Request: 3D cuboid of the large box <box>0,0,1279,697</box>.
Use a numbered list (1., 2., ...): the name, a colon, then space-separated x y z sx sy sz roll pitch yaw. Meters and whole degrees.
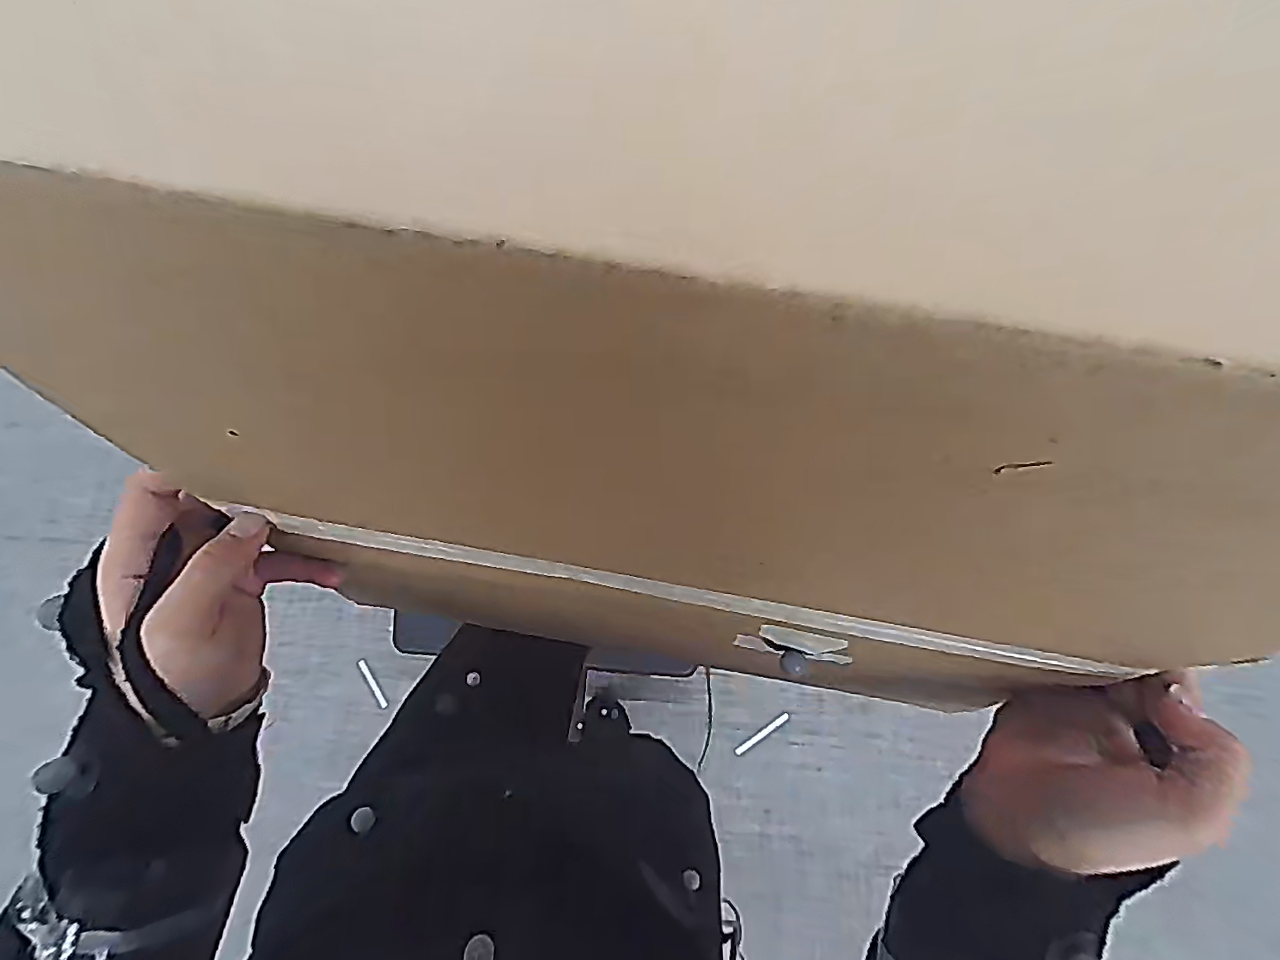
1. large box: 0.034 -0.088 0.309 0.408 0.320 0.320 9 62 2
